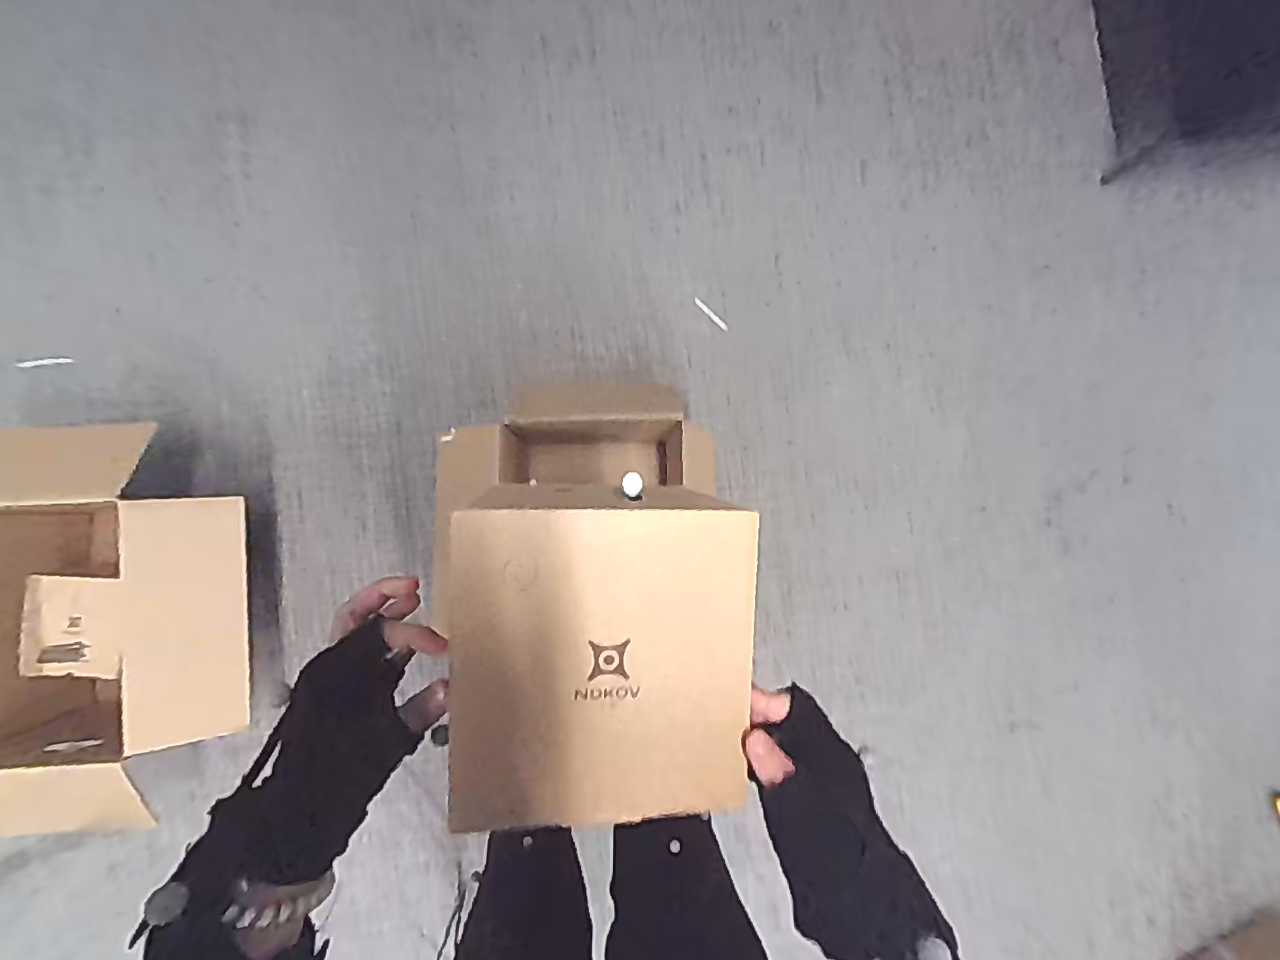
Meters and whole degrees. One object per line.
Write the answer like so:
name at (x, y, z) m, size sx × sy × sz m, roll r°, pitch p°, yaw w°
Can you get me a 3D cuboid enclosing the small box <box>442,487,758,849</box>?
small box at (-0.033, 0.097, 0.362) m, size 0.168 × 0.176 × 0.179 m, roll 0°, pitch 95°, yaw -10°
